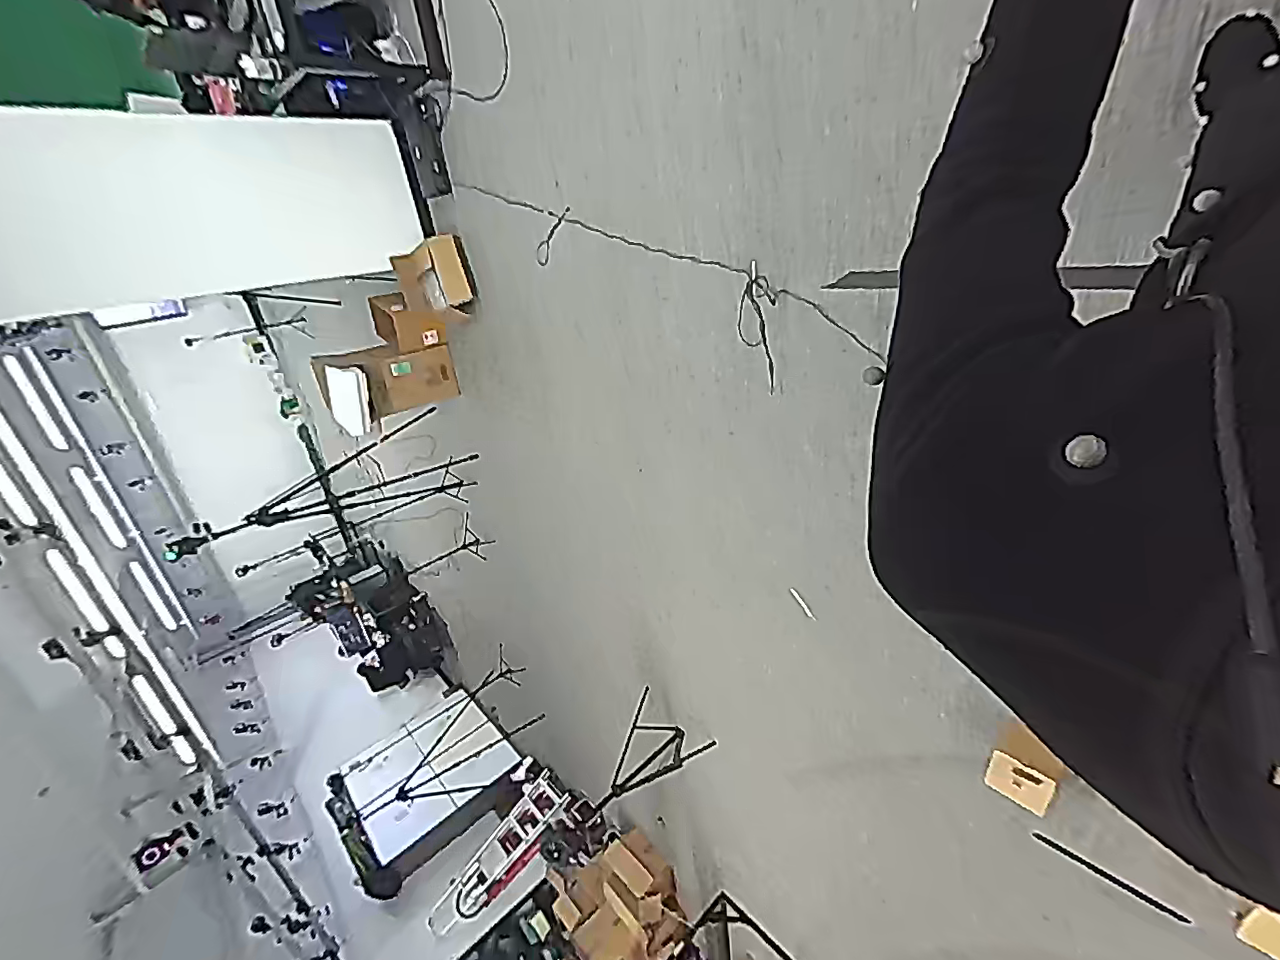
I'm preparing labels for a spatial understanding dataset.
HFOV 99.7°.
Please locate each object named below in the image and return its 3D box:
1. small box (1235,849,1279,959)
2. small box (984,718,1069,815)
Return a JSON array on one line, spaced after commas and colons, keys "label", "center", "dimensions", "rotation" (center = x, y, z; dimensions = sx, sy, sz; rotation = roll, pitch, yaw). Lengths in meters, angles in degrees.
[{"label": "small box", "center": [1.621, 1.069, 1.333], "dimensions": [0.168, 0.176, 0.179], "rotation": [21, 128, 43]}, {"label": "small box", "center": [1.230, 0.900, 1.718], "dimensions": [0.168, 0.176, 0.179], "rotation": [24, 130, 43]}]
